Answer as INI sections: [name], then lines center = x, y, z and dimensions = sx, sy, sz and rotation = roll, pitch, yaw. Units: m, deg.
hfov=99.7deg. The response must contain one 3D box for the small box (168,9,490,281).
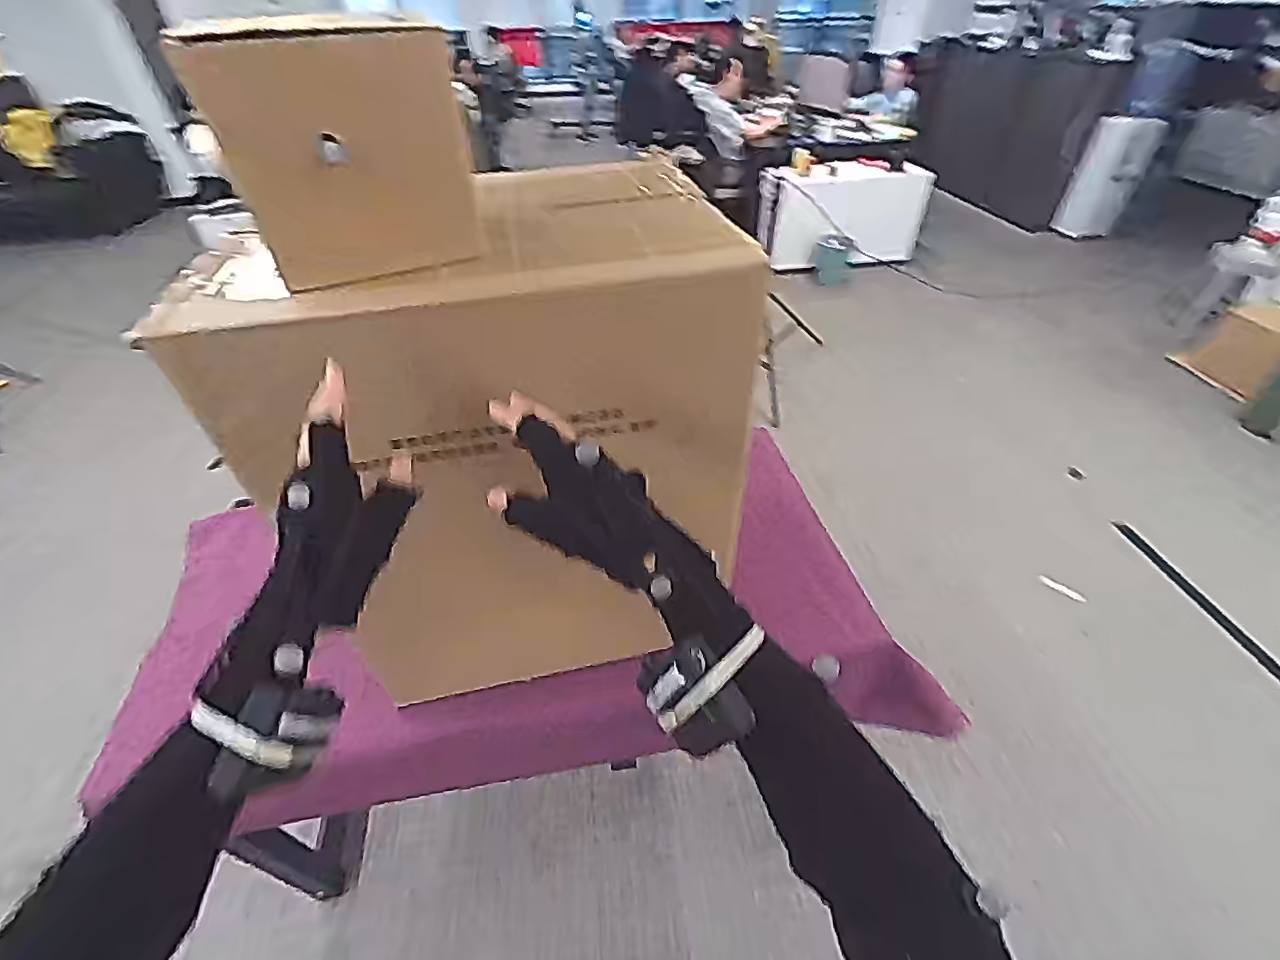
[small box]
center = -0.251, -0.292, 0.471
dimensions = 0.179, 0.176, 0.168
rotation = -20, 47, -18
